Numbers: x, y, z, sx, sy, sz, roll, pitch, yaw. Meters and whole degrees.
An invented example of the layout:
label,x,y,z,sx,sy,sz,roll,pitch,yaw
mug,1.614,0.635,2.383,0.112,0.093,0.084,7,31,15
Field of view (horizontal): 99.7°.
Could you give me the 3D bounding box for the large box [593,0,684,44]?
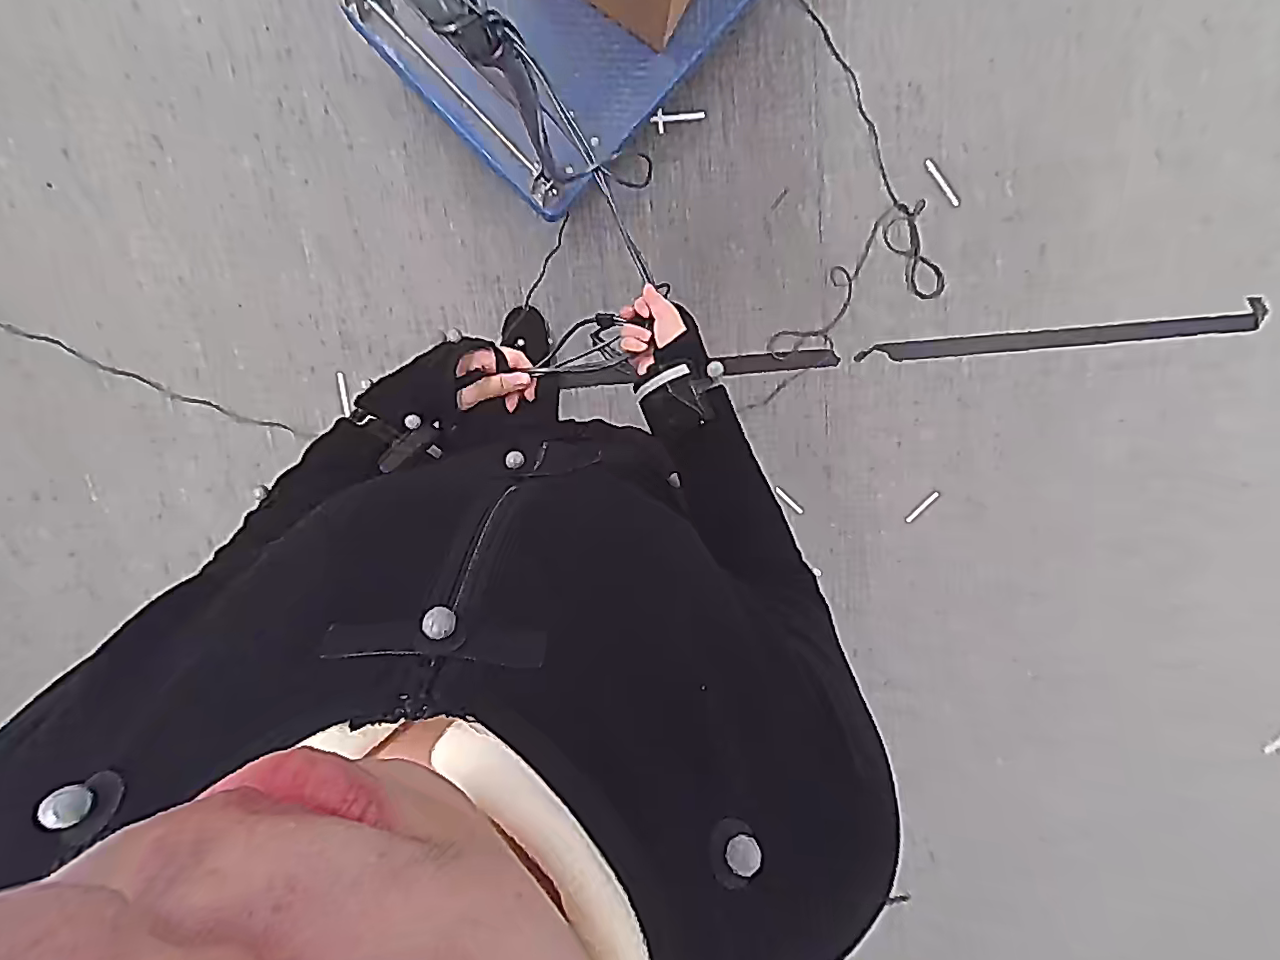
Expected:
label,x,y,z,sx,sy,sz,roll,pitch,yaw
large box,-0.043,-1.085,0.919,0.408,0.320,0.320,29,99,-10
